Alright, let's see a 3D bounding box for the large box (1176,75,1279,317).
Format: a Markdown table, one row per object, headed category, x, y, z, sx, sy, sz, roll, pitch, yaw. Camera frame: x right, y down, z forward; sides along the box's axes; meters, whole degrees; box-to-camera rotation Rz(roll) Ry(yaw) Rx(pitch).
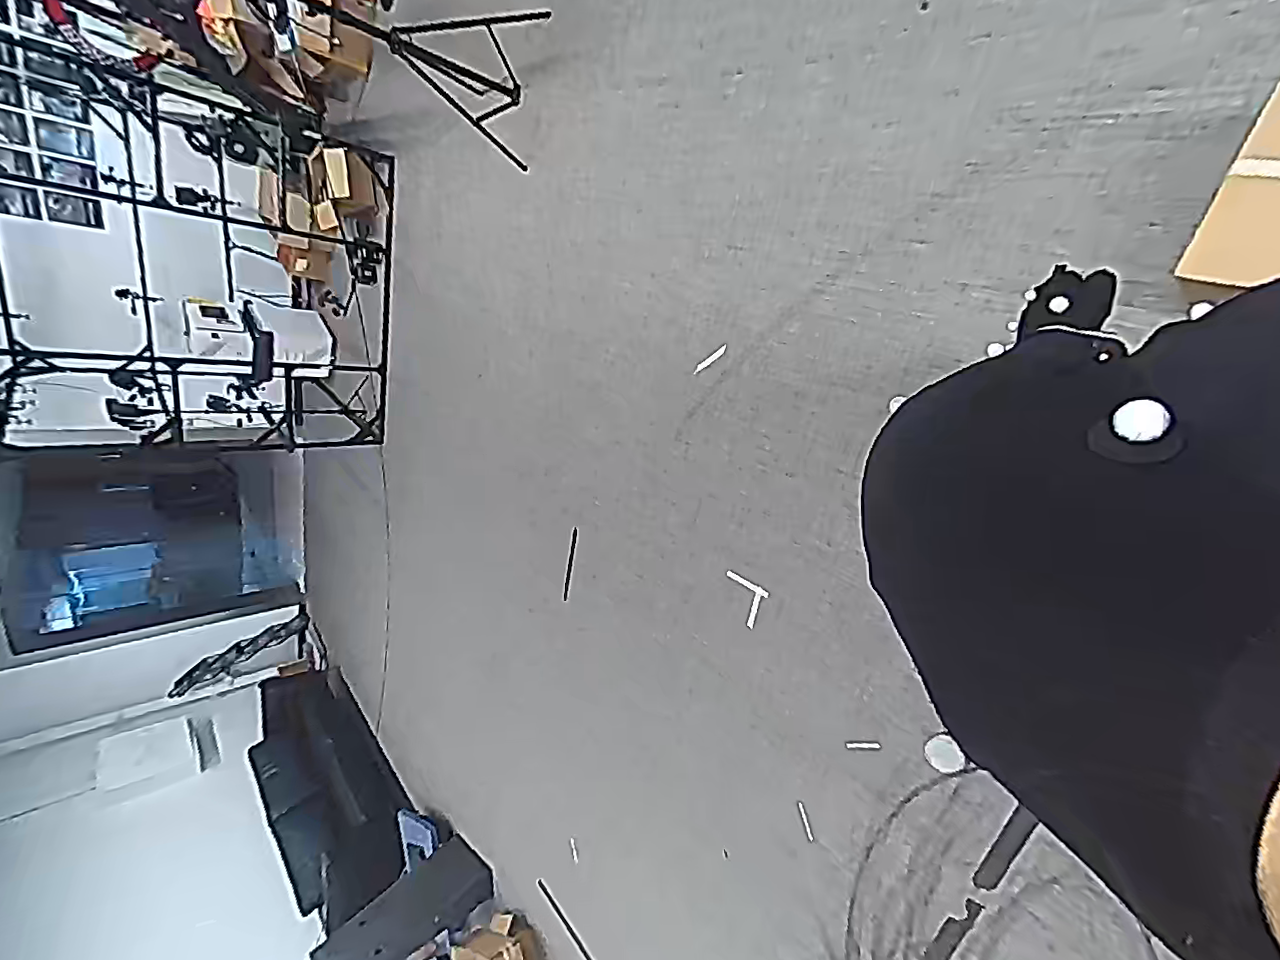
| category | x | y | z | sx | sy | sz | roll | pitch | yaw |
| --- | --- | --- | --- | --- | --- | --- | --- | --- | --- |
| large box | 1.113 | -0.398 | 0.784 | 0.408 | 0.320 | 0.320 | 32 | 118 | 38 |
